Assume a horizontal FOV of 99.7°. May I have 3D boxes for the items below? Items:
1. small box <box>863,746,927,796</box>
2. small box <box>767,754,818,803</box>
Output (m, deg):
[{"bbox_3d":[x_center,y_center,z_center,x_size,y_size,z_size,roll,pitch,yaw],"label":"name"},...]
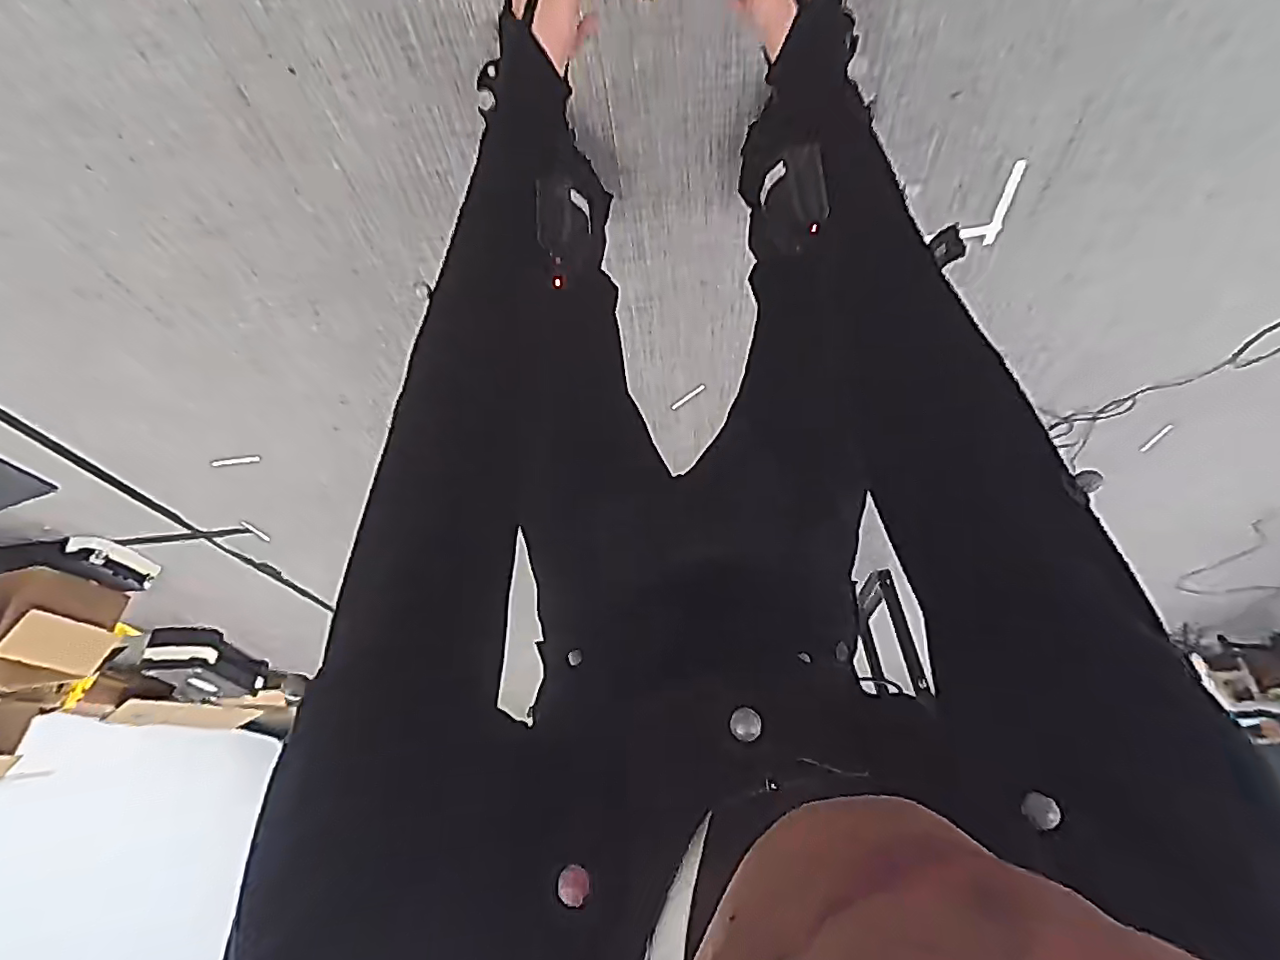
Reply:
[{"bbox_3d":[1.058,1.218,2.262,0.168,0.176,0.179,-1,146,-4],"label":"small box"},{"bbox_3d":[0.647,1.281,2.317,0.179,0.176,0.168,-7,147,6],"label":"small box"}]
